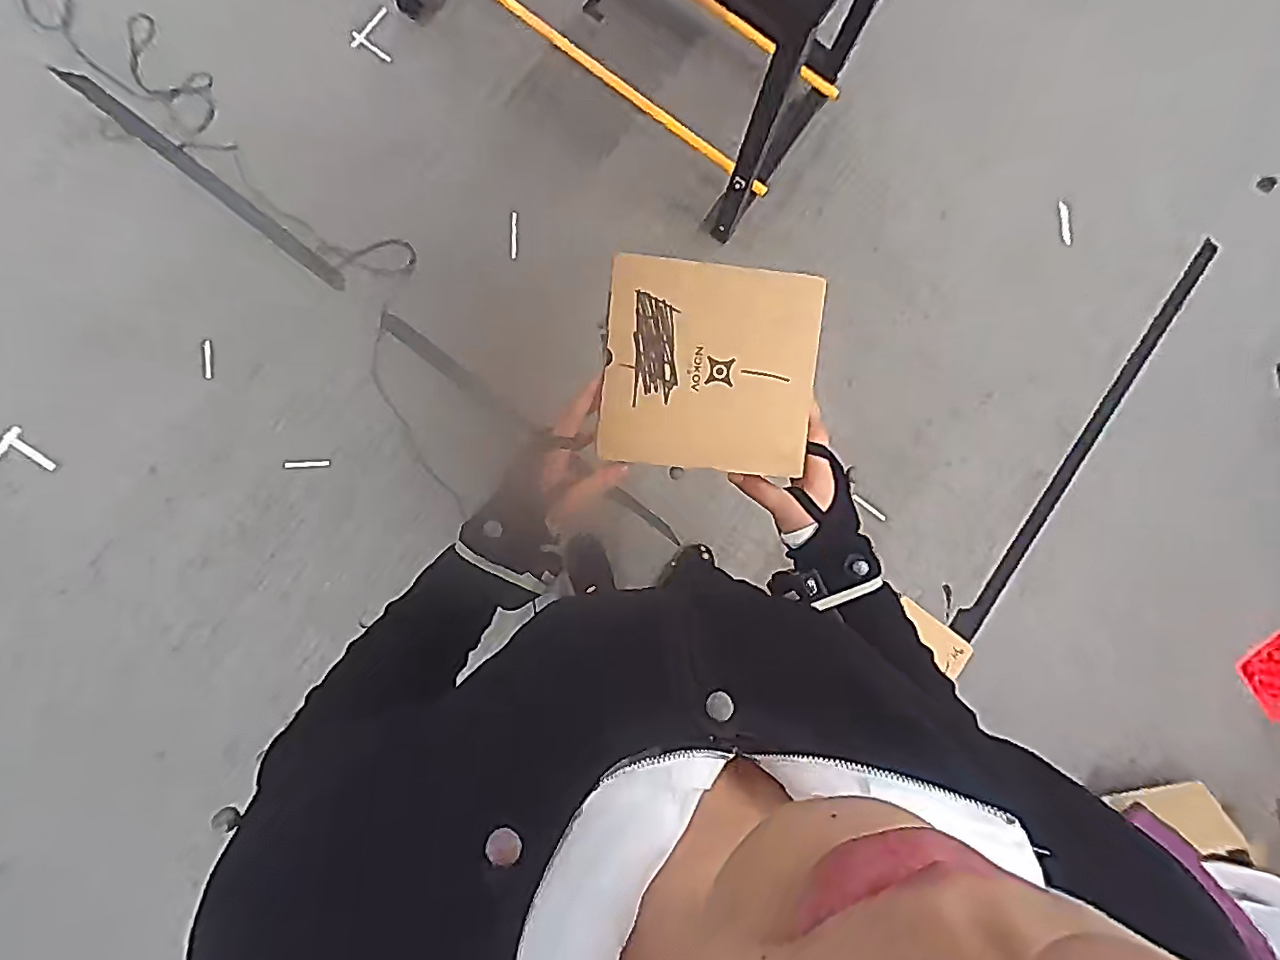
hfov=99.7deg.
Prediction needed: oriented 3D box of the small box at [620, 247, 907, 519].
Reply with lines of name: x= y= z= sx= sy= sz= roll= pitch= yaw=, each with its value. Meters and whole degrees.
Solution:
small box: x=0.077 y=-0.068 z=0.432 sx=0.179 sy=0.176 sz=0.168 roll=4 pitch=96 yaw=-5

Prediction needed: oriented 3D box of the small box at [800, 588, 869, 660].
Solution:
small box: x=0.541 y=0.389 z=1.364 sx=0.179 sy=0.176 sz=0.168 roll=36 pitch=84 yaw=1
